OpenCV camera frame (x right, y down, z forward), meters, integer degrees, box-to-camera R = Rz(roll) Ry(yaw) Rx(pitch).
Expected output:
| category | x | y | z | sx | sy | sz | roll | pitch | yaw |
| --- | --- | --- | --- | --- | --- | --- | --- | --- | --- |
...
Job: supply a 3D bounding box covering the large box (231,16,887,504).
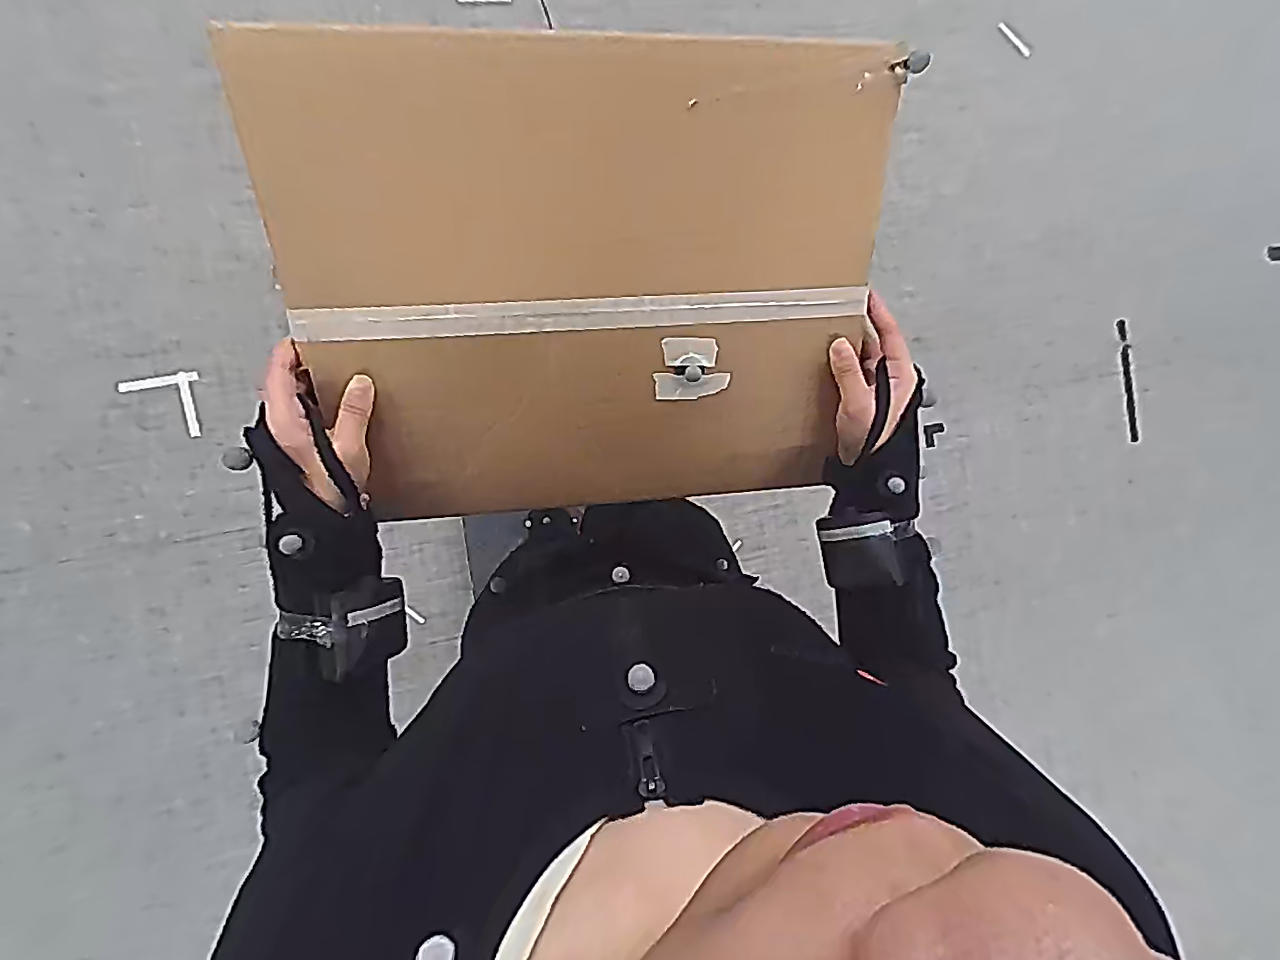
| category | x | y | z | sx | sy | sz | roll | pitch | yaw |
| --- | --- | --- | --- | --- | --- | --- | --- | --- | --- |
| large box | -0.055 | -0.200 | 0.521 | 0.408 | 0.320 | 0.320 | -5 | 118 | -8 |
